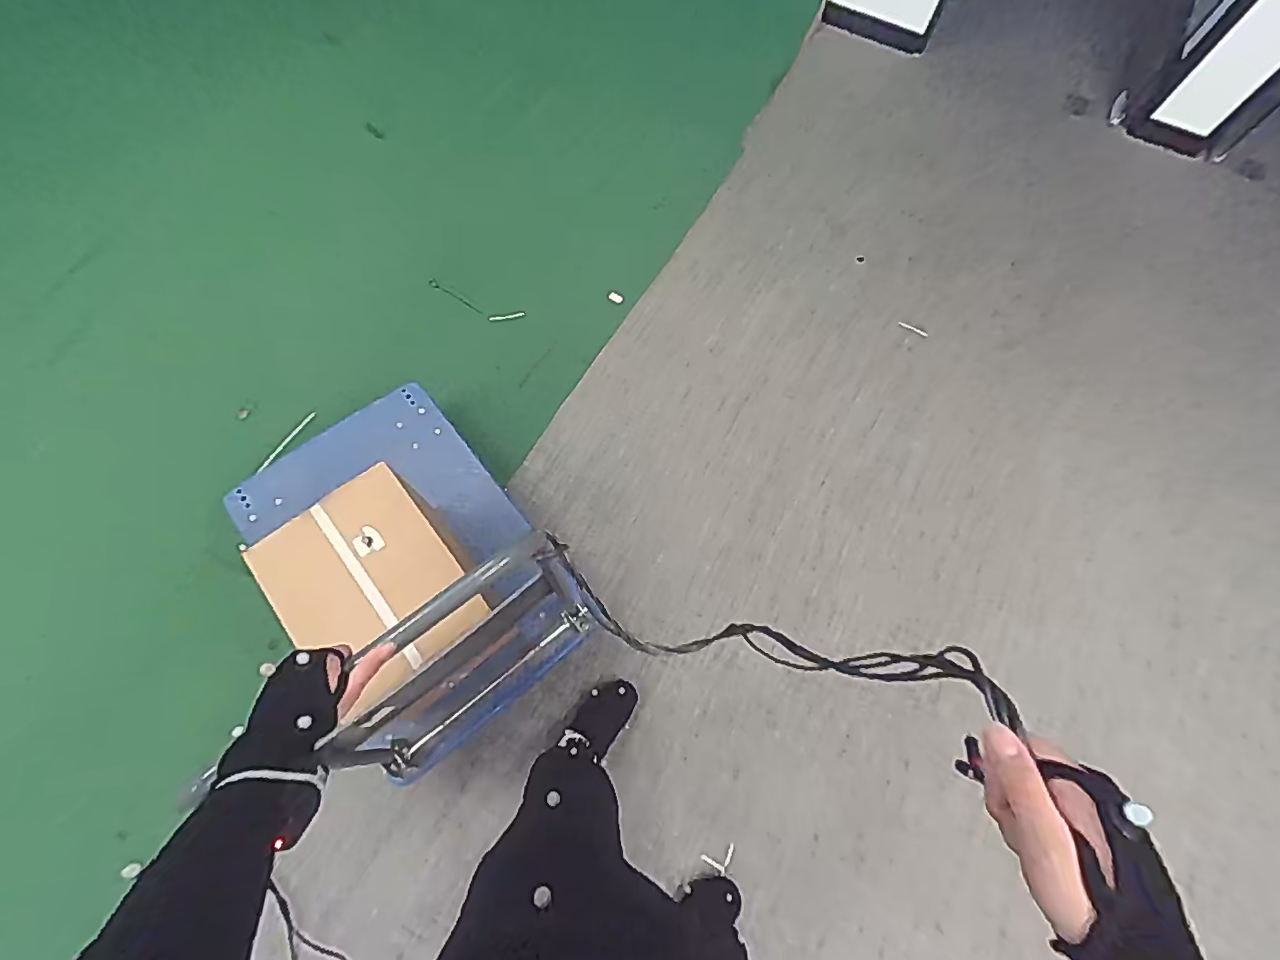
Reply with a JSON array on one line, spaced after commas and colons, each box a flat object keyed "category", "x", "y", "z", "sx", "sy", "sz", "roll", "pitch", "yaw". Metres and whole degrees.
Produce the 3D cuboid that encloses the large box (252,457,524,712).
[{"category": "large box", "x": -0.514, "y": 0.233, "z": 1.174, "sx": 0.320, "sy": 0.320, "sz": 0.408, "roll": -38, "pitch": 74, "yaw": -15}]
